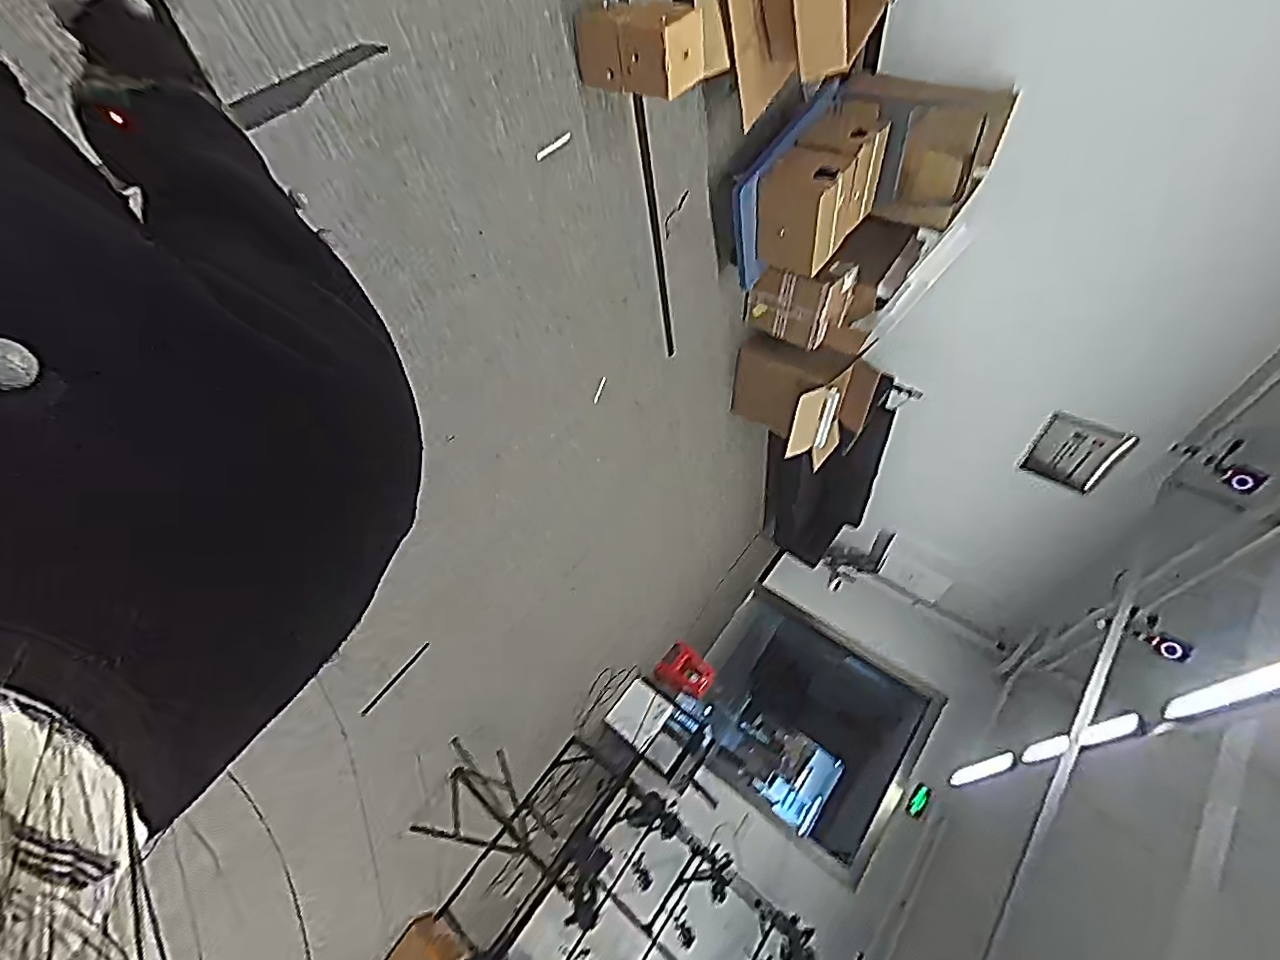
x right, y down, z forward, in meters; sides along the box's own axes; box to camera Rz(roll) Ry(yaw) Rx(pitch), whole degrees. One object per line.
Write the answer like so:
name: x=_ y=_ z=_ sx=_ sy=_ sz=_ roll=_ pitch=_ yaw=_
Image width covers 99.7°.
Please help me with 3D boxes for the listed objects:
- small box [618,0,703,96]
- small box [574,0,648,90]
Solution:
small box: x=0.061 y=-1.233 z=1.537 sx=0.179 sy=0.176 sz=0.168 roll=-48 pitch=152 yaw=-21
small box: x=-0.073 y=-1.298 z=1.603 sx=0.168 sy=0.176 sz=0.179 roll=-47 pitch=152 yaw=-25
